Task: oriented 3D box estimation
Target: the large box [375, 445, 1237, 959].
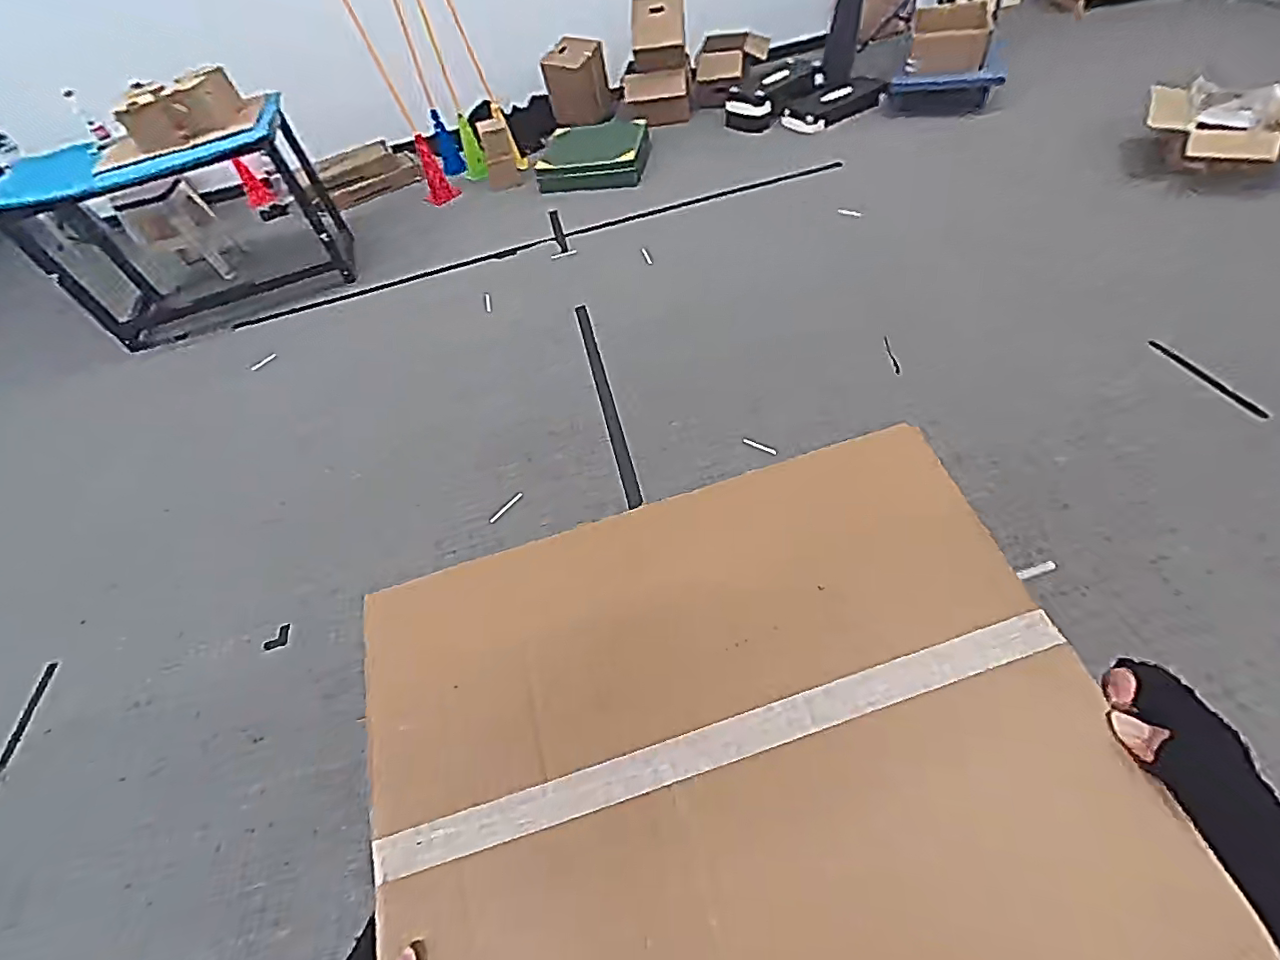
[{"bbox_3d":[0.067,0.230,0.441,0.408,0.320,0.320,-18,60,-3],"label":"large box"}]
